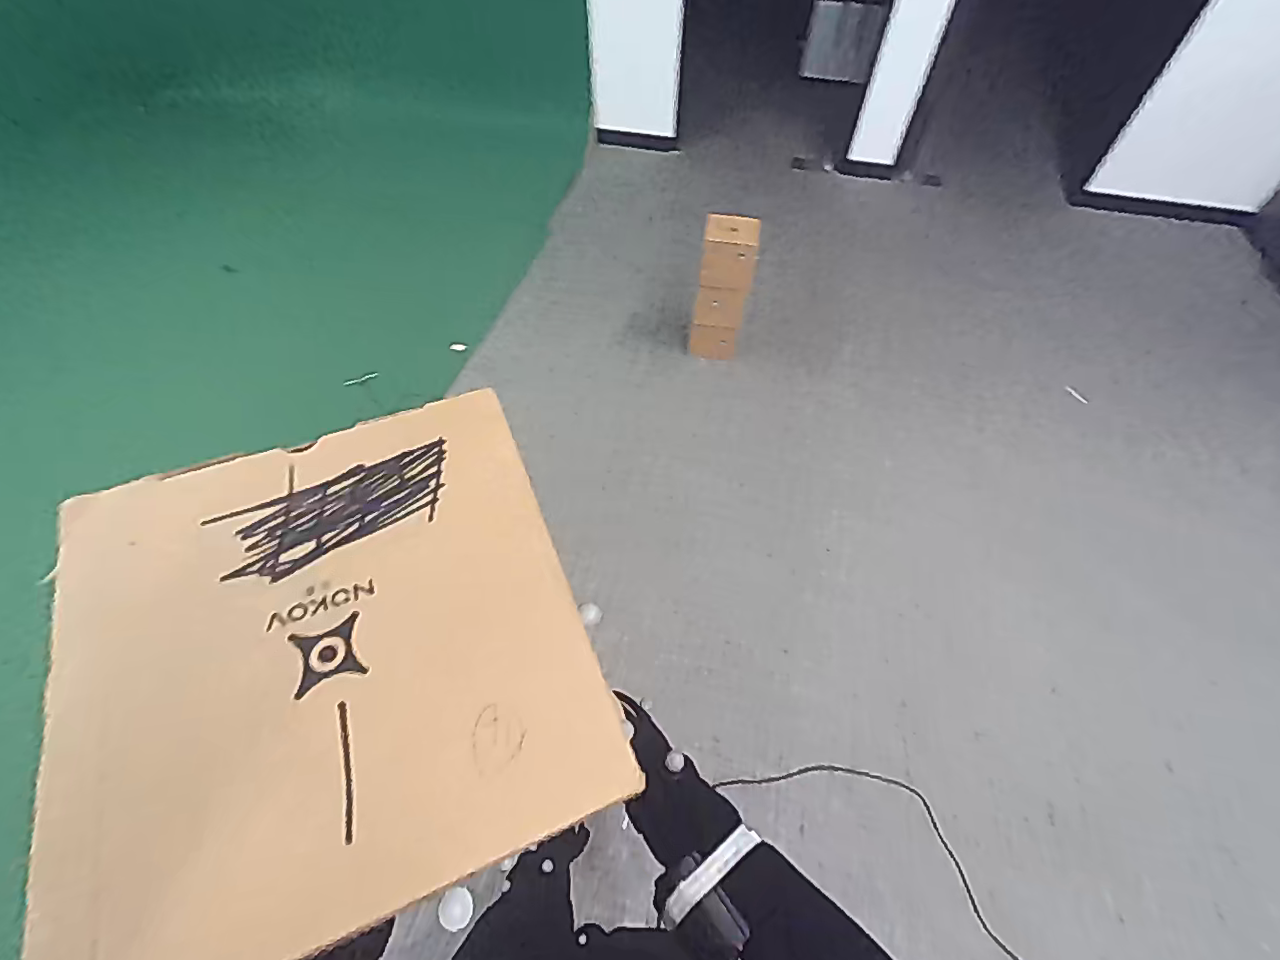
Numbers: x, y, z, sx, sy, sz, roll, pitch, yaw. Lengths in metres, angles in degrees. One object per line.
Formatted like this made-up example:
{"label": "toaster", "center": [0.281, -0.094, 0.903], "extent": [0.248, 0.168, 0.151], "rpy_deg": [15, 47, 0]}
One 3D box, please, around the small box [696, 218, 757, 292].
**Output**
{"label": "small box", "center": [0.294, -0.766, 1.851], "extent": [0.179, 0.176, 0.168], "rpy_deg": [8, 54, 5]}

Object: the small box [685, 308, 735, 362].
{"label": "small box", "center": [0.279, -0.584, 2.126], "extent": [0.179, 0.176, 0.168], "rpy_deg": [7, 55, 6]}

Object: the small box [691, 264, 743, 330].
{"label": "small box", "center": [0.285, -0.674, 1.988], "extent": [0.179, 0.176, 0.168], "rpy_deg": [7, 55, 5]}
